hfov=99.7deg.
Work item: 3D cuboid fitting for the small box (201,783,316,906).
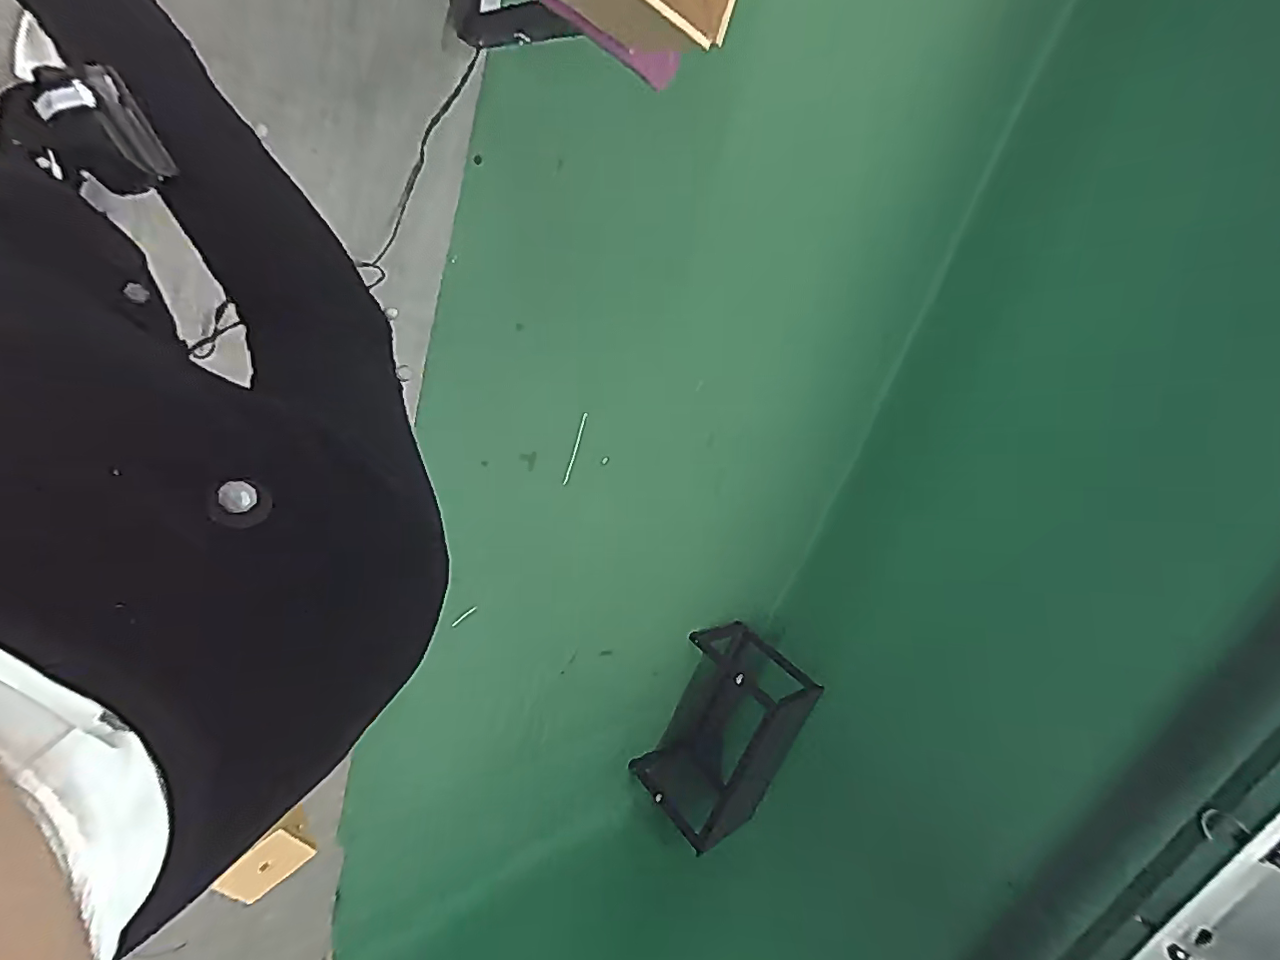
[{"bbox_3d":[-0.950,0.901,1.349,0.168,0.176,0.179,-33,135,-26],"label":"small box"}]
